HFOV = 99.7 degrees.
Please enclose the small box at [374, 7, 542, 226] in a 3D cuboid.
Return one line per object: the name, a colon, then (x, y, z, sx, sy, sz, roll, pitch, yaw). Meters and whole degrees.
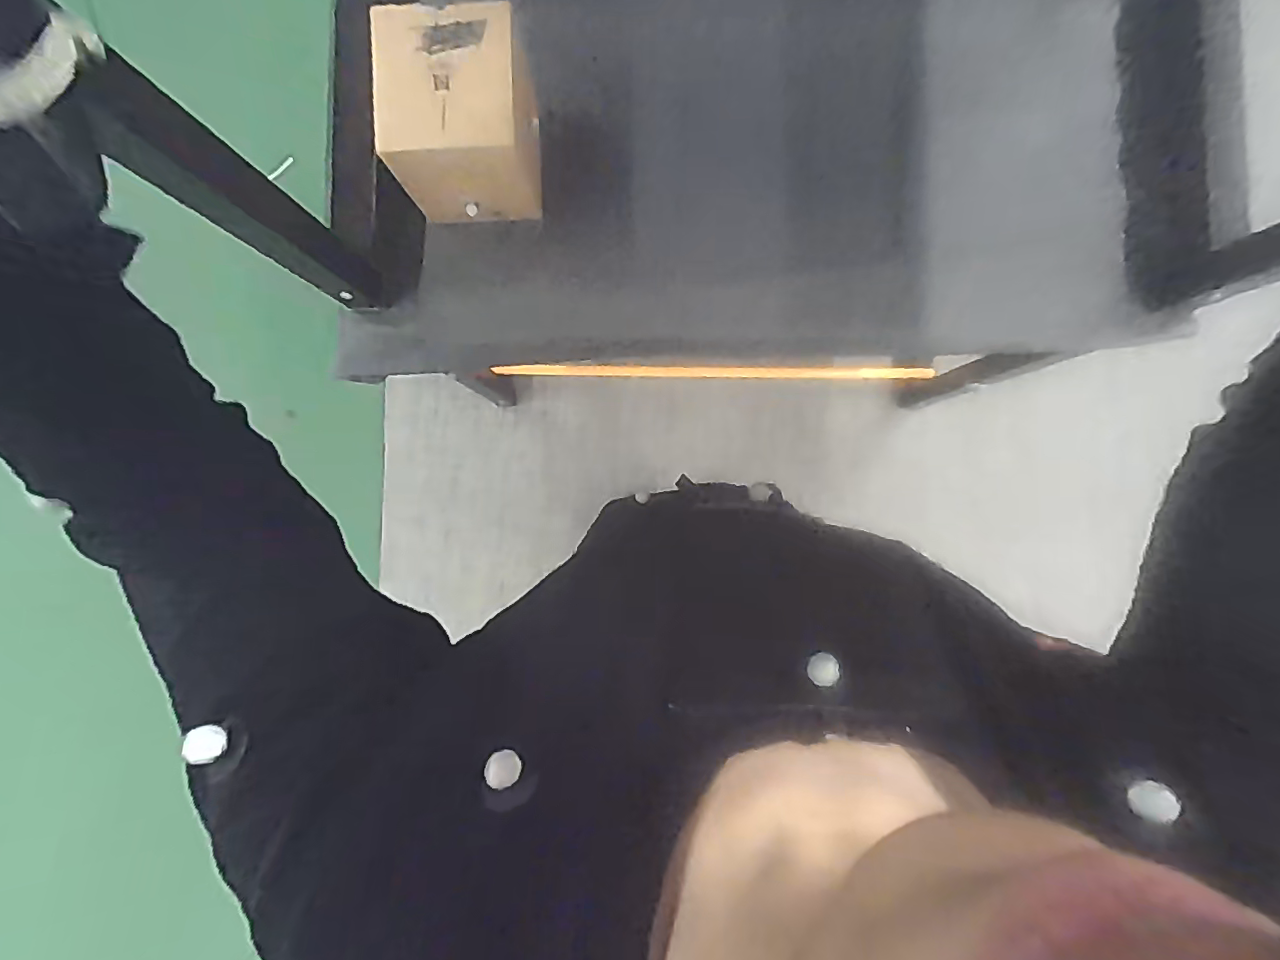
small box: (-0.227, -0.461, 0.709, 0.168, 0.176, 0.179, -2, 88, 1)
